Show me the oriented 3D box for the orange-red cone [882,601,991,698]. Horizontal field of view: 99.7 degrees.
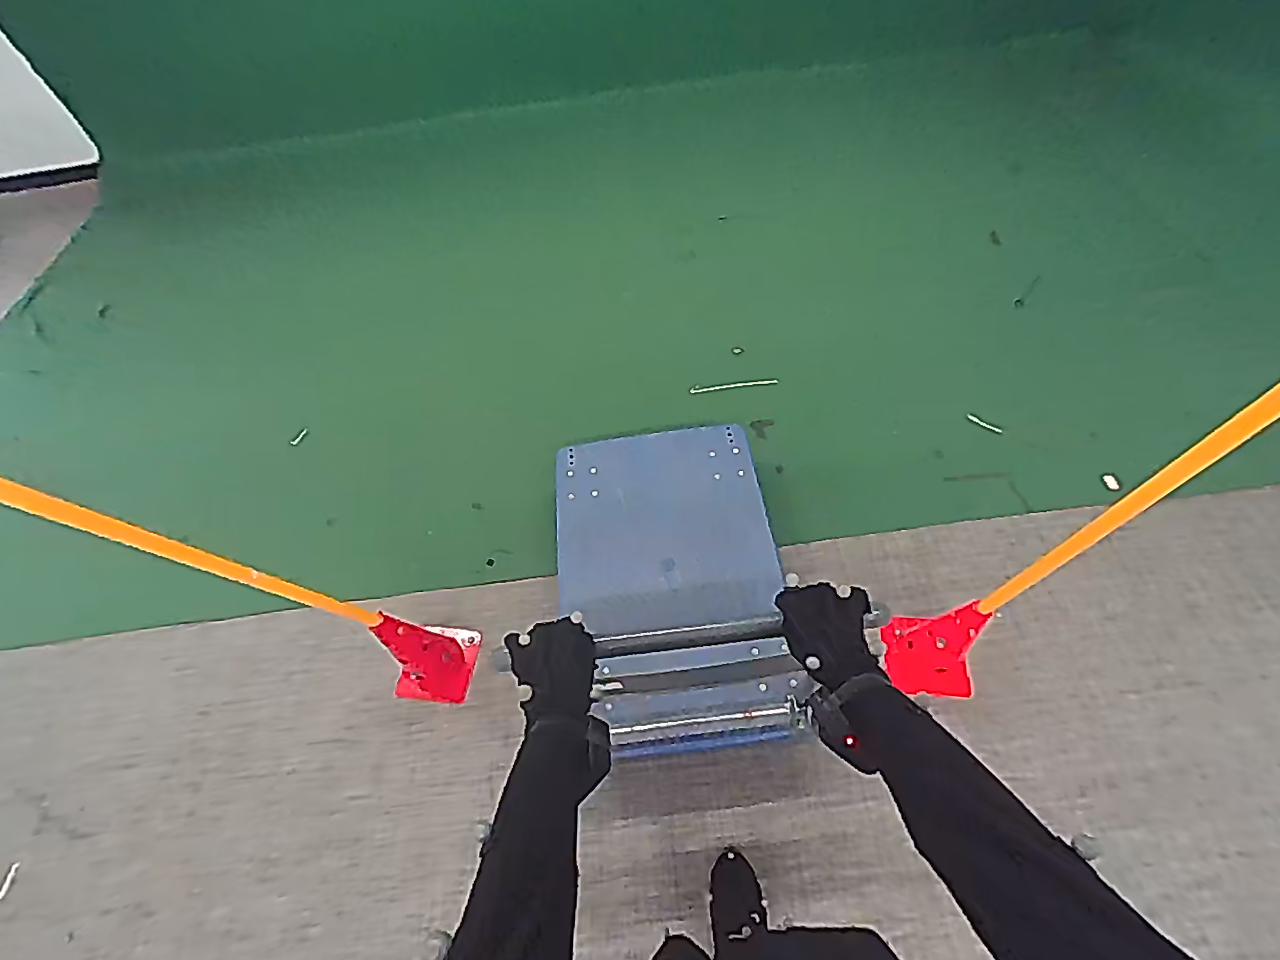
[{"bbox_3d":[0.712,0.358,1.240,0.198,0.360,0.199,1,58,8],"label":"orange-red cone"}]
